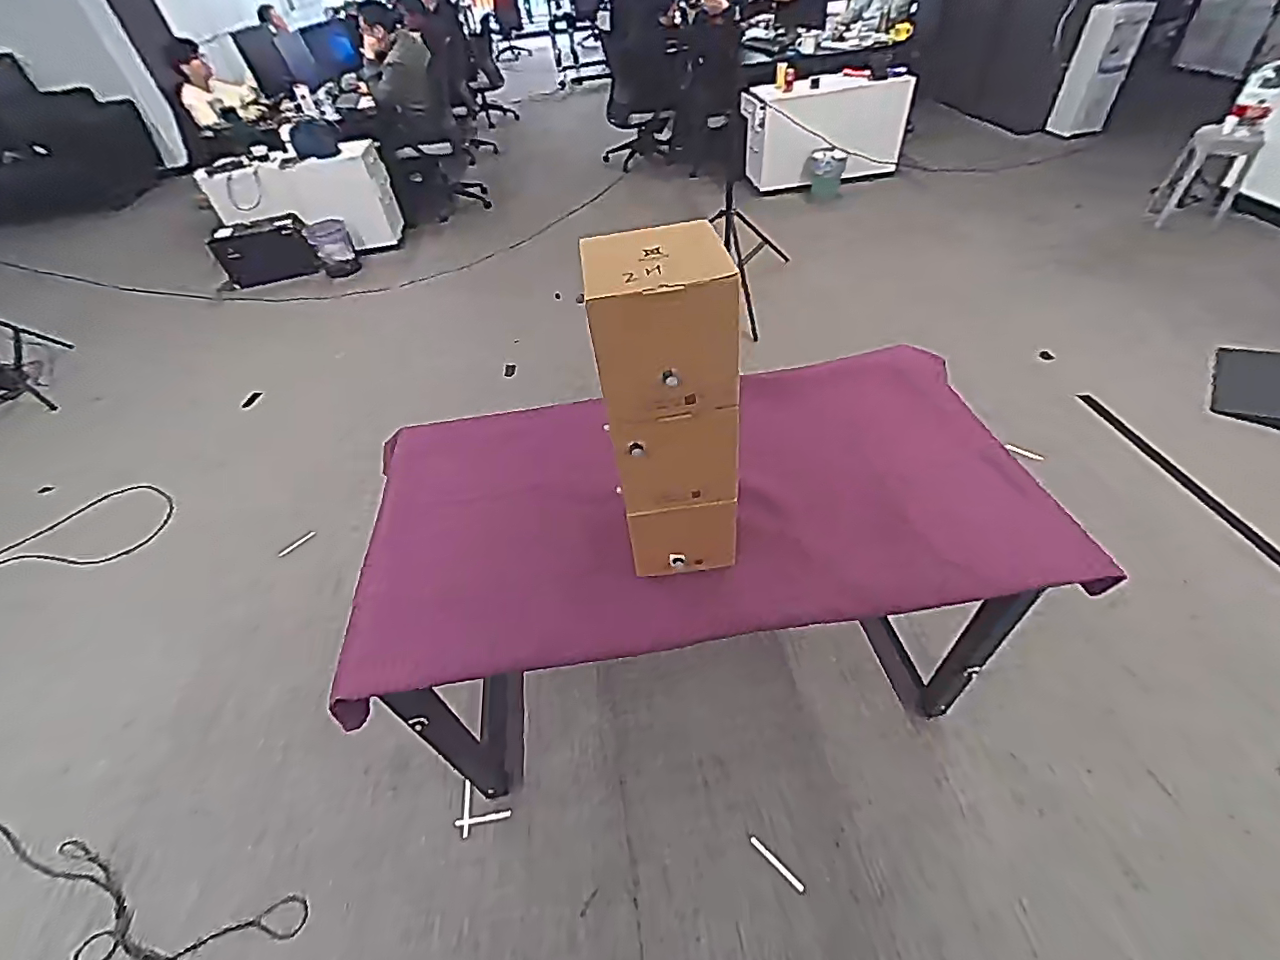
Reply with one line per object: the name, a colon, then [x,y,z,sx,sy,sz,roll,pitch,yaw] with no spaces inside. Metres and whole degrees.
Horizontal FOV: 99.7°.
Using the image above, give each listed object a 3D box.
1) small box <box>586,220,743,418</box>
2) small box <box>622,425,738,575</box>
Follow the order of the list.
small box: [0.027,-0.202,0.678,0.168,0.176,0.179,-9,44,0]
small box: [0.063,0.035,0.905,0.168,0.176,0.179,-8,46,0]
